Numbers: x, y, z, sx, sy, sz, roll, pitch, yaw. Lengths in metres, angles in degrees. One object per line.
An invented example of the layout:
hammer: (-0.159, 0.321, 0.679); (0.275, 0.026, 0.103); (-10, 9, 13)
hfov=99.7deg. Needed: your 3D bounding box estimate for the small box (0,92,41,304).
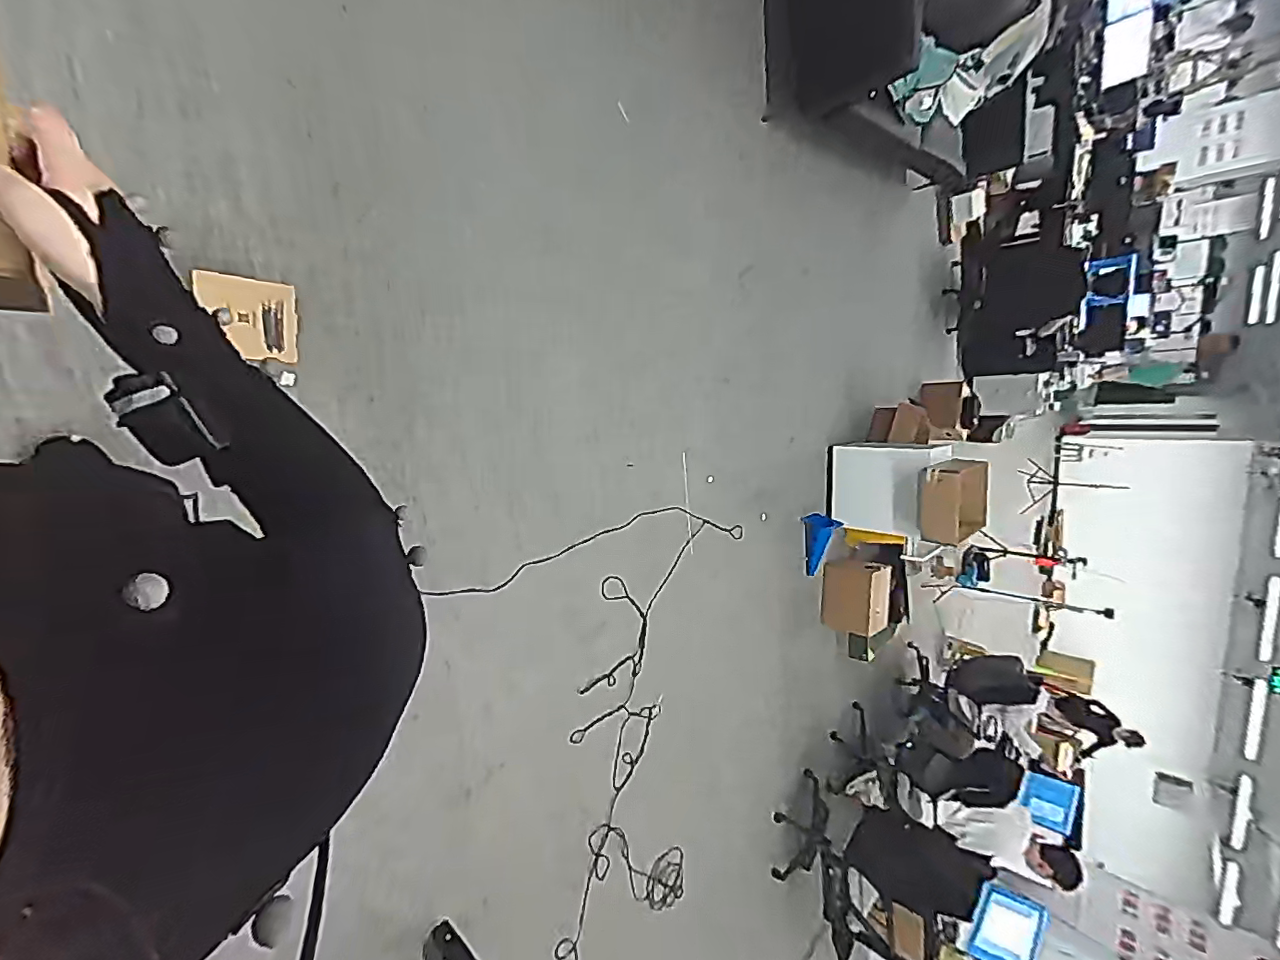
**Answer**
small box: (-0.516, -0.212, 0.338); (0.168, 0.176, 0.179); (-11, 104, -43)
